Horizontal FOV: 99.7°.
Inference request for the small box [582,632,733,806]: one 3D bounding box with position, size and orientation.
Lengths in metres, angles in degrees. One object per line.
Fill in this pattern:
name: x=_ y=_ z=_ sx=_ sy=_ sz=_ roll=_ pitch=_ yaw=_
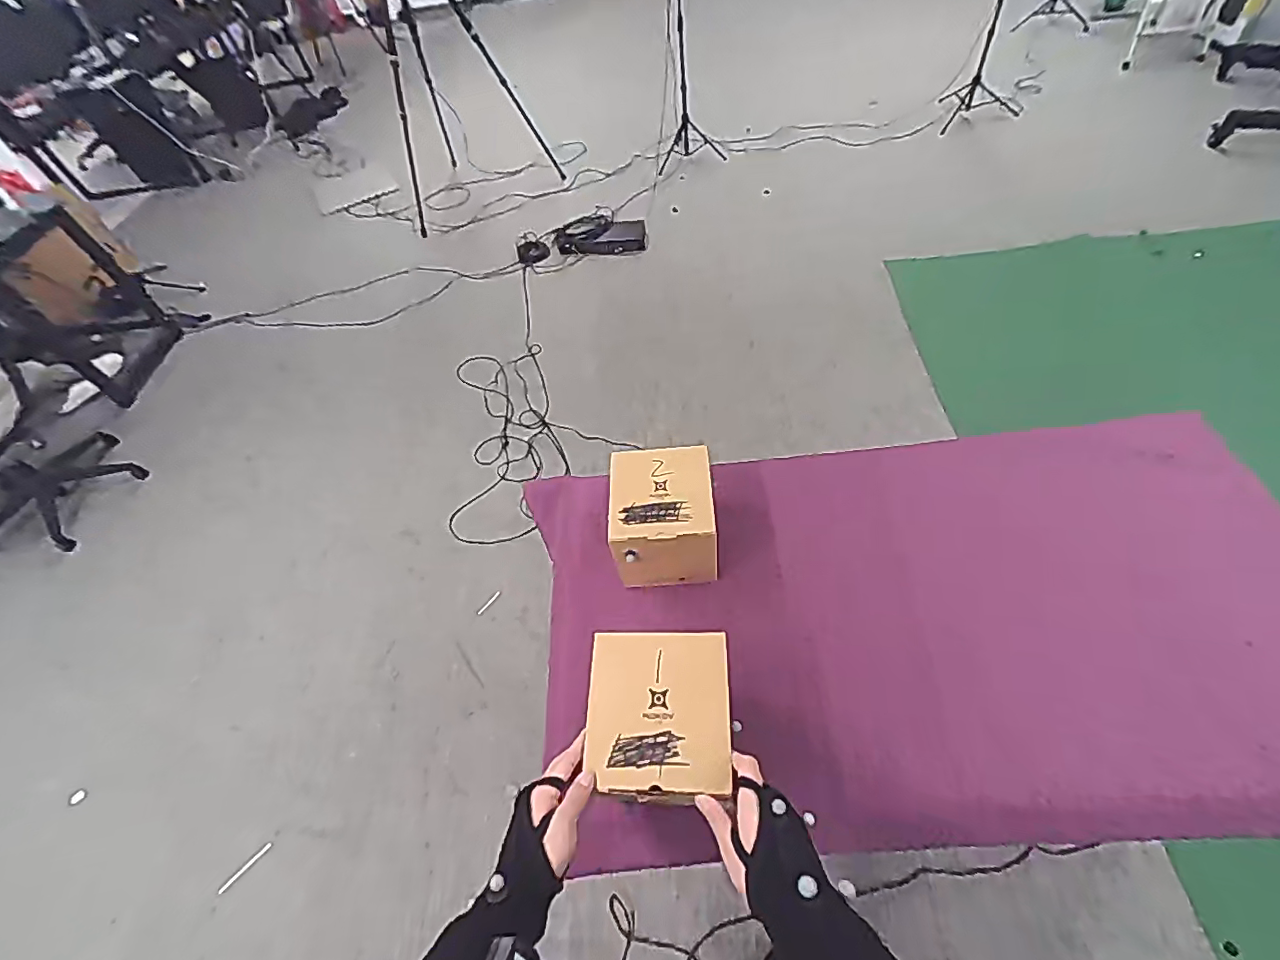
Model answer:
small box: x=0.032 y=0.306 z=0.687 sx=0.168 sy=0.176 sz=0.179 roll=-2 pitch=55 yaw=7
